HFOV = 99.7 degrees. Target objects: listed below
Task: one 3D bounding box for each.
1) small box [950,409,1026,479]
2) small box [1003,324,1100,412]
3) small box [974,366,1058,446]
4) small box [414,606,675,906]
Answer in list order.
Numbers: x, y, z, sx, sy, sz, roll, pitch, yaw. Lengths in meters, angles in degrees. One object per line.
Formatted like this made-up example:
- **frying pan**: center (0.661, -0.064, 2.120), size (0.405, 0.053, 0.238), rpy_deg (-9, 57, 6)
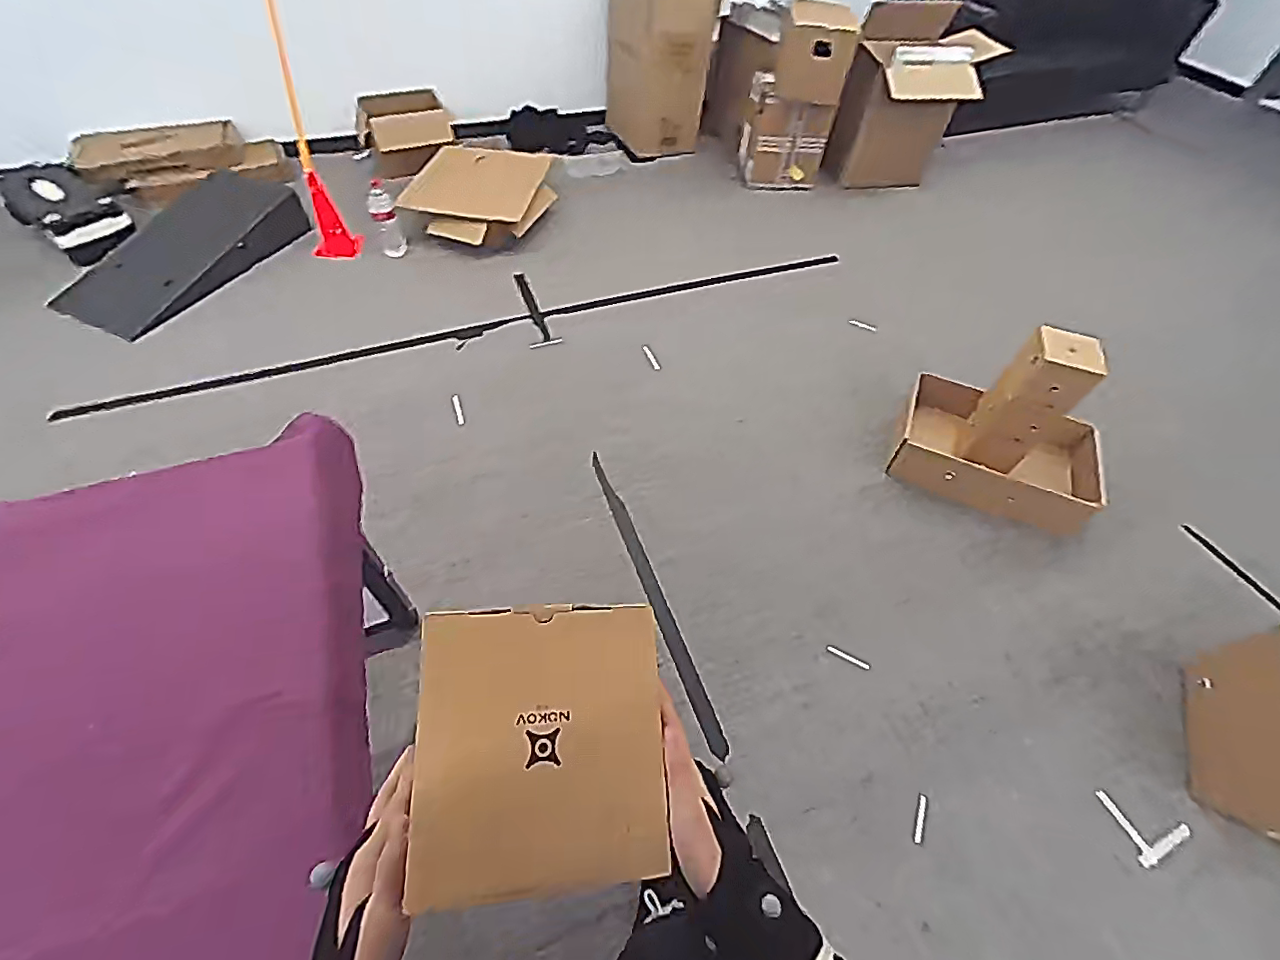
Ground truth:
- **small box**: center (1.215, -0.137, 1.892), size (0.168, 0.176, 0.179), rpy_deg (21, 55, 12)
- **small box**: center (1.232, -0.335, 1.632), size (0.168, 0.176, 0.179), rpy_deg (18, 54, 8)
- **small box**: center (1.219, -0.238, 1.765), size (0.168, 0.176, 0.179), rpy_deg (18, 53, 9)
- **small box**: center (-0.075, 0.204, 0.441), size (0.168, 0.176, 0.179), rpy_deg (1, 68, -12)
